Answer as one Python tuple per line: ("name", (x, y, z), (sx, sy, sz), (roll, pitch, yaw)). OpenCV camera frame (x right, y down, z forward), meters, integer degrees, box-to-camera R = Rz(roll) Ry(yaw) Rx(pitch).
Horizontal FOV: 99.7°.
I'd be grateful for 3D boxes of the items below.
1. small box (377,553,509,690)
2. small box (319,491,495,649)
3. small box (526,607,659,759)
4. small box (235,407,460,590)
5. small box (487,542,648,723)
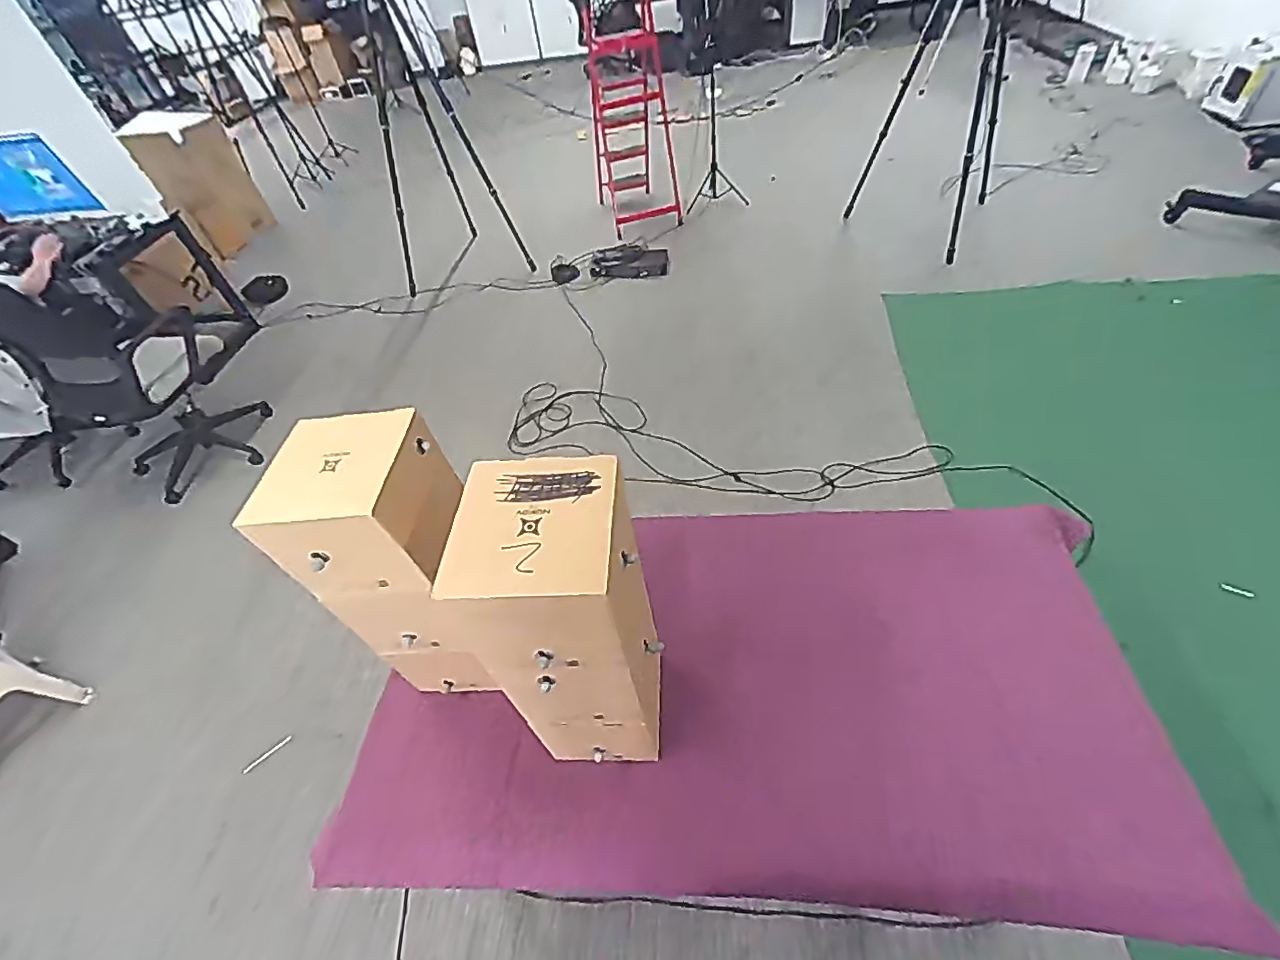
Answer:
("small box", (-0.315, 0.247, 0.940), (0.168, 0.176, 0.179), (-4, 49, 6))
("small box", (-0.334, 0.138, 0.820), (0.168, 0.176, 0.179), (-4, 49, 7))
("small box", (-0.062, 0.313, 0.840), (0.168, 0.176, 0.179), (-3, 48, 7))
("small box", (-0.354, 0.031, 0.700), (0.168, 0.176, 0.179), (-5, 48, 6))
("small box", (-0.081, 0.203, 0.720), (0.168, 0.176, 0.179), (-3, 47, 7))
